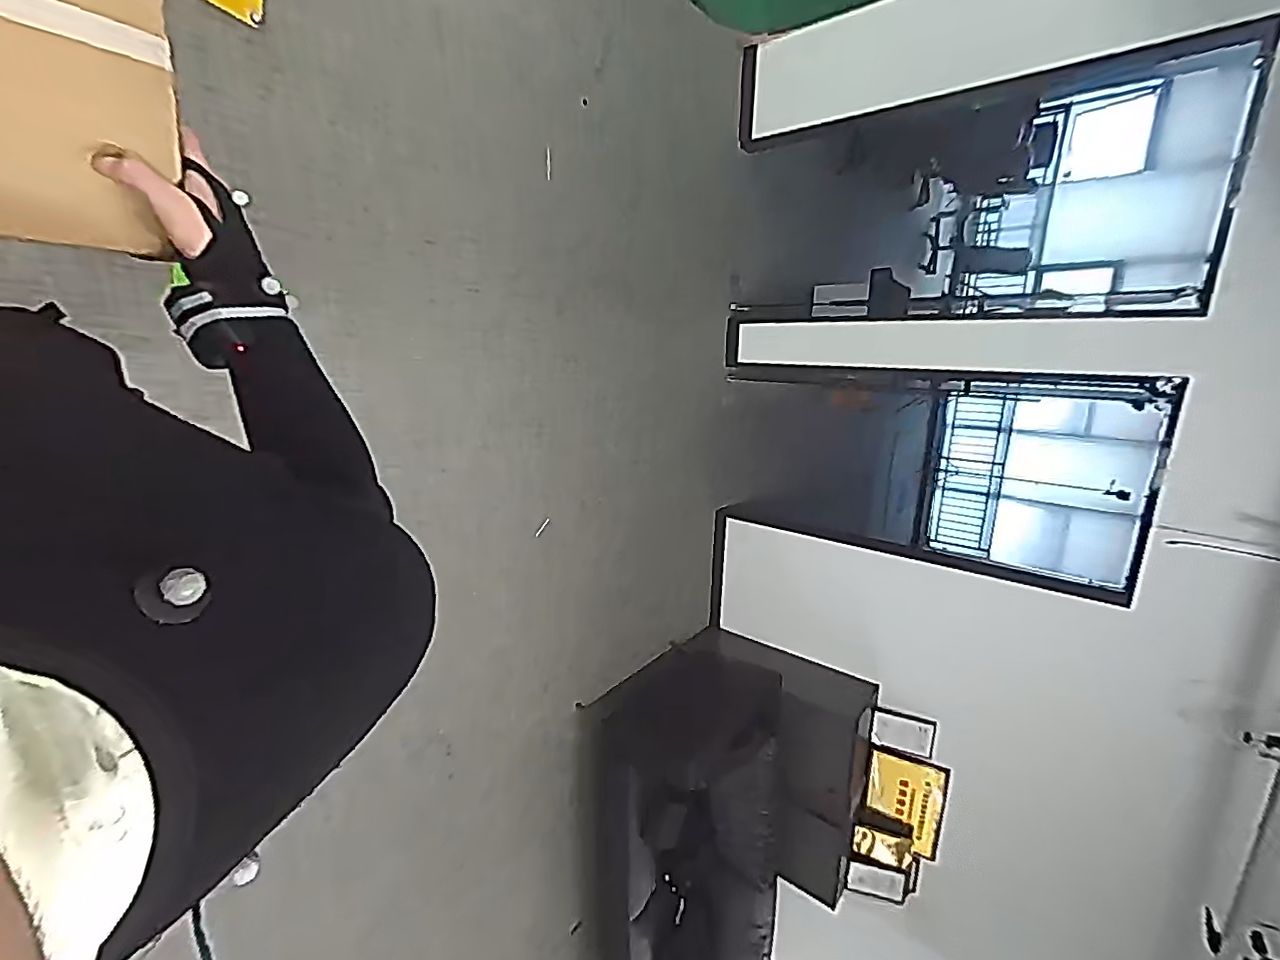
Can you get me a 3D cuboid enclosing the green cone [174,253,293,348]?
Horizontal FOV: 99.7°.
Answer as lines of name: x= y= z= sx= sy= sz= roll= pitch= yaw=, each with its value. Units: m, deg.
green cone: x=-0.880 y=-0.412 z=1.229 sx=0.200 sy=0.368 sz=0.202 roll=-6 pitch=103 yaw=-53
